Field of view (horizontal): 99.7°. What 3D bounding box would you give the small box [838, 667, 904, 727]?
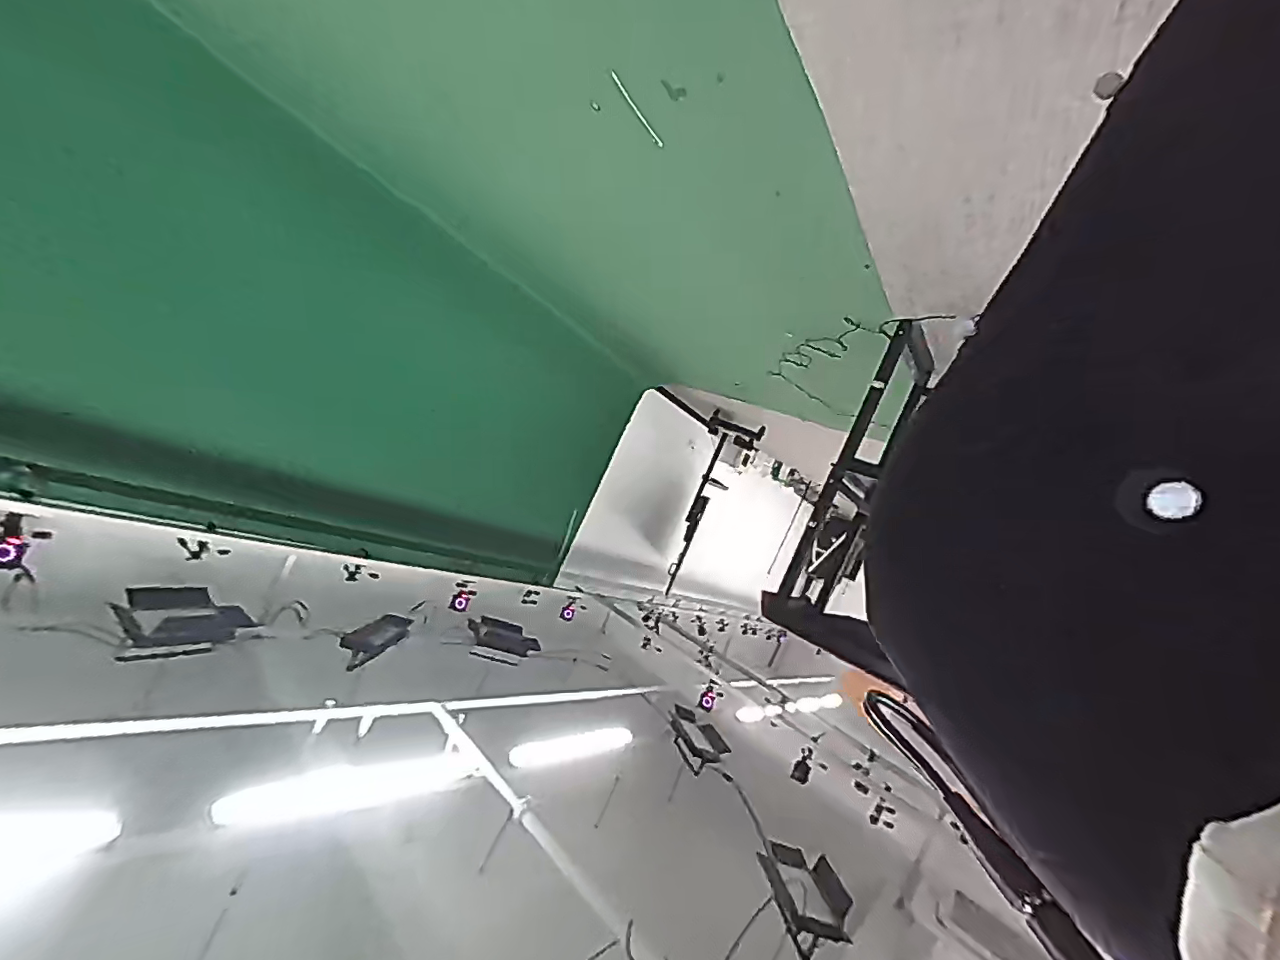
[{"bbox_3d":[0.939,0.872,2.192,0.179,0.176,0.168,22,179,43],"label":"small box"}]
